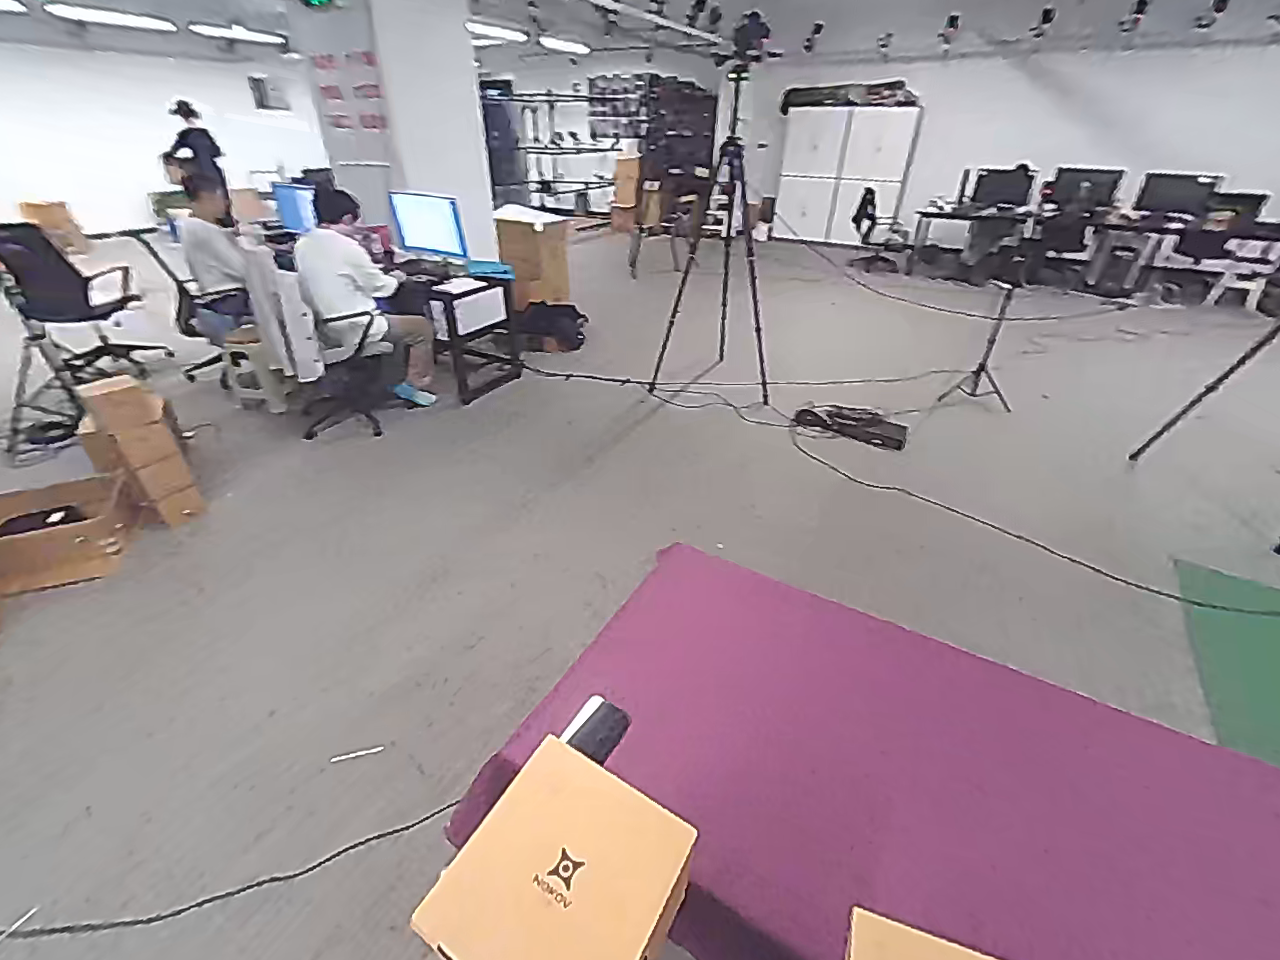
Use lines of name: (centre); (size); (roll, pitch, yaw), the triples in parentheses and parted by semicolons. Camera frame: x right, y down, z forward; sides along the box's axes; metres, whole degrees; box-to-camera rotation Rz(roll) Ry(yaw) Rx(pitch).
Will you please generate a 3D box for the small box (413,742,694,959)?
small box: (-0.069, 0.391, 0.494); (0.168, 0.176, 0.179); (22, 43, 23)
